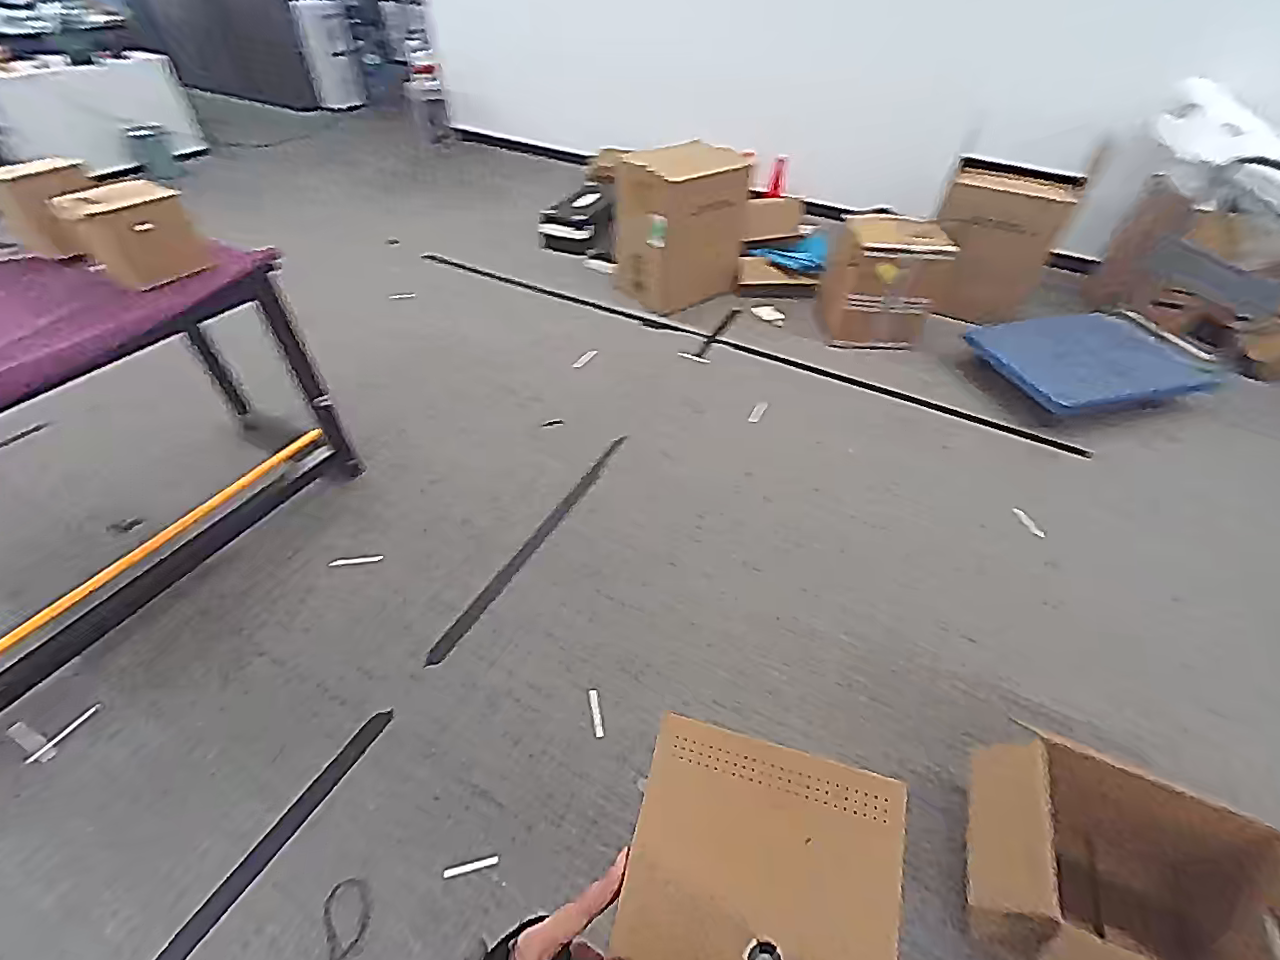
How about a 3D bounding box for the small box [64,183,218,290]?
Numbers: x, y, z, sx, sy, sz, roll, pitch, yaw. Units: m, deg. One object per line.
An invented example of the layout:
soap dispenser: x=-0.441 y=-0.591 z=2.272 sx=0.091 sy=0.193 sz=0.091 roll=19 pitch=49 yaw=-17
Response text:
small box: x=-1.146 y=-0.565 z=1.257 sx=0.168 sy=0.176 sz=0.179 roll=23 pitch=48 yaw=20
